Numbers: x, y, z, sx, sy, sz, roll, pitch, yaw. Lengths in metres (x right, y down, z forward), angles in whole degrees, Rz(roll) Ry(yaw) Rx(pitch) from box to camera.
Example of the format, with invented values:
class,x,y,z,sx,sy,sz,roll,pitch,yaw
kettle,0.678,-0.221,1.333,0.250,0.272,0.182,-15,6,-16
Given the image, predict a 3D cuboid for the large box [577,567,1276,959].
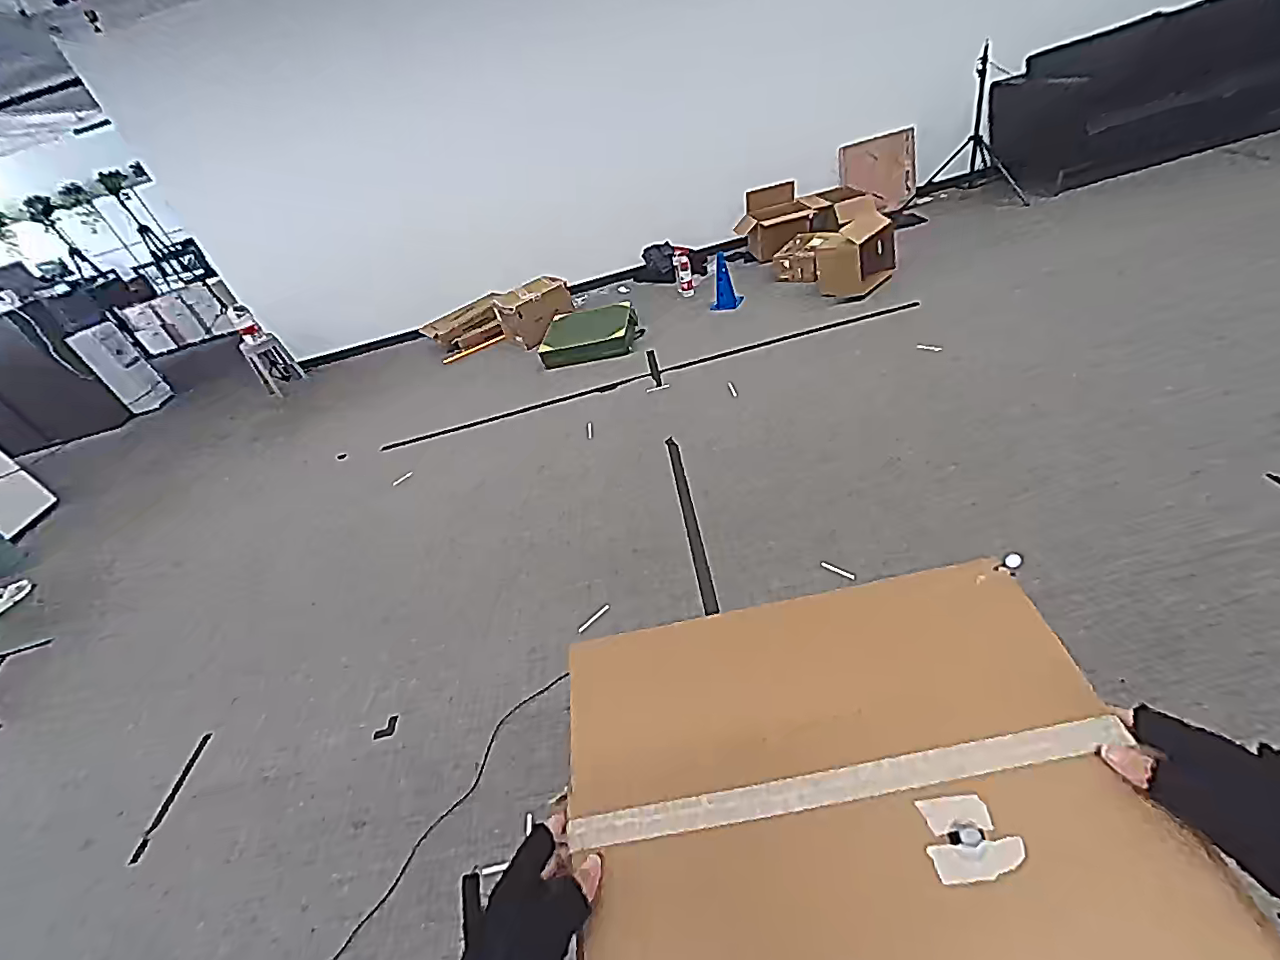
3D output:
class,x,y,z,sx,sy,sz,roll,pitch,yaw
large box,0.178,0.334,0.509,0.408,0.320,0.320,-13,45,3
